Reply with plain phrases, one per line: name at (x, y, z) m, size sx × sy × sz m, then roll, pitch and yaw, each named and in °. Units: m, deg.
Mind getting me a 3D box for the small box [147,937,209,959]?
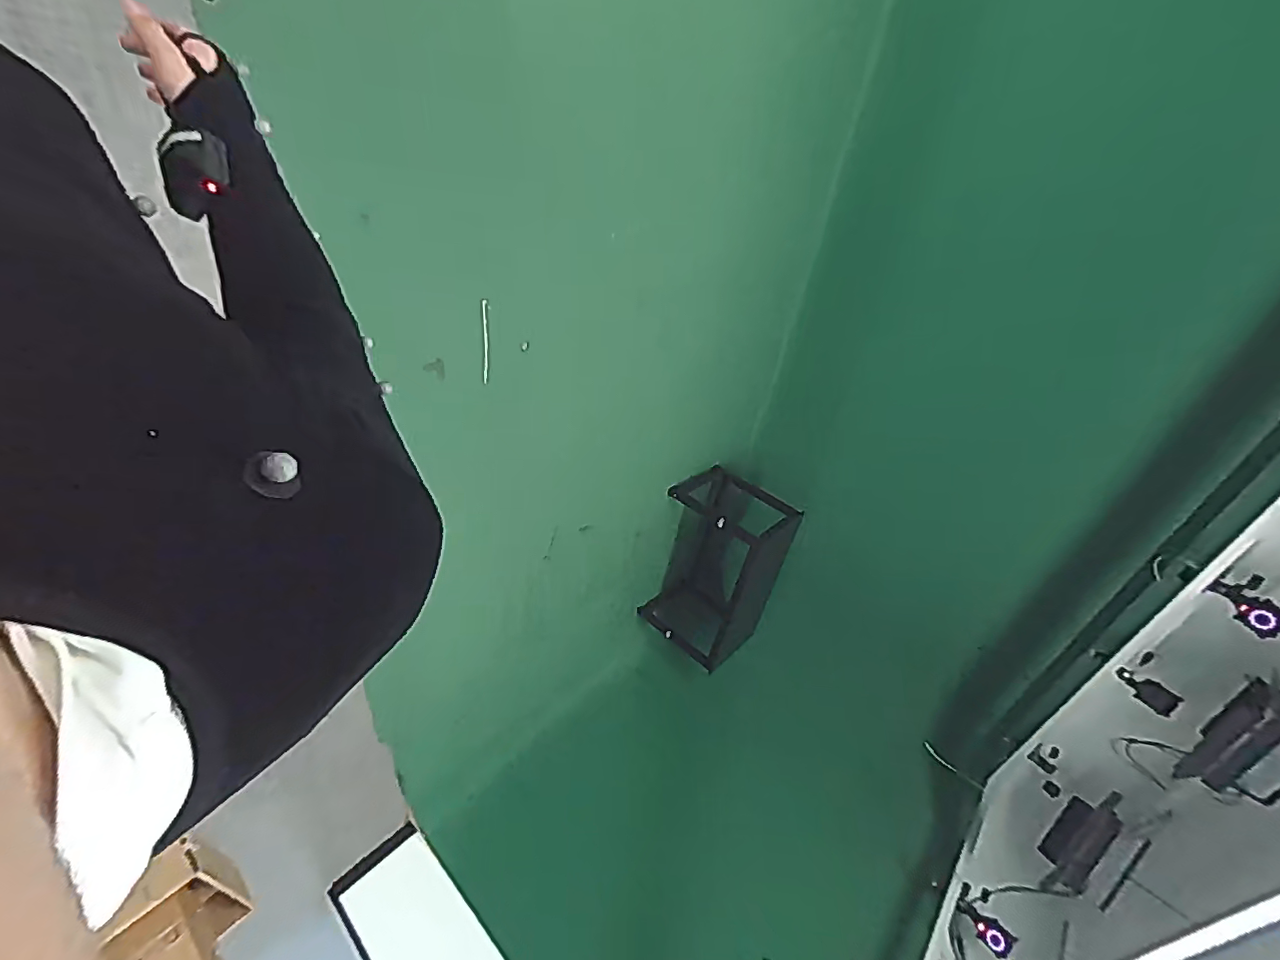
small box at (-1.211, 1.324, 1.380) m, size 0.168 × 0.176 × 0.179 m, roll -33°, pitch 144°, yaw -38°
